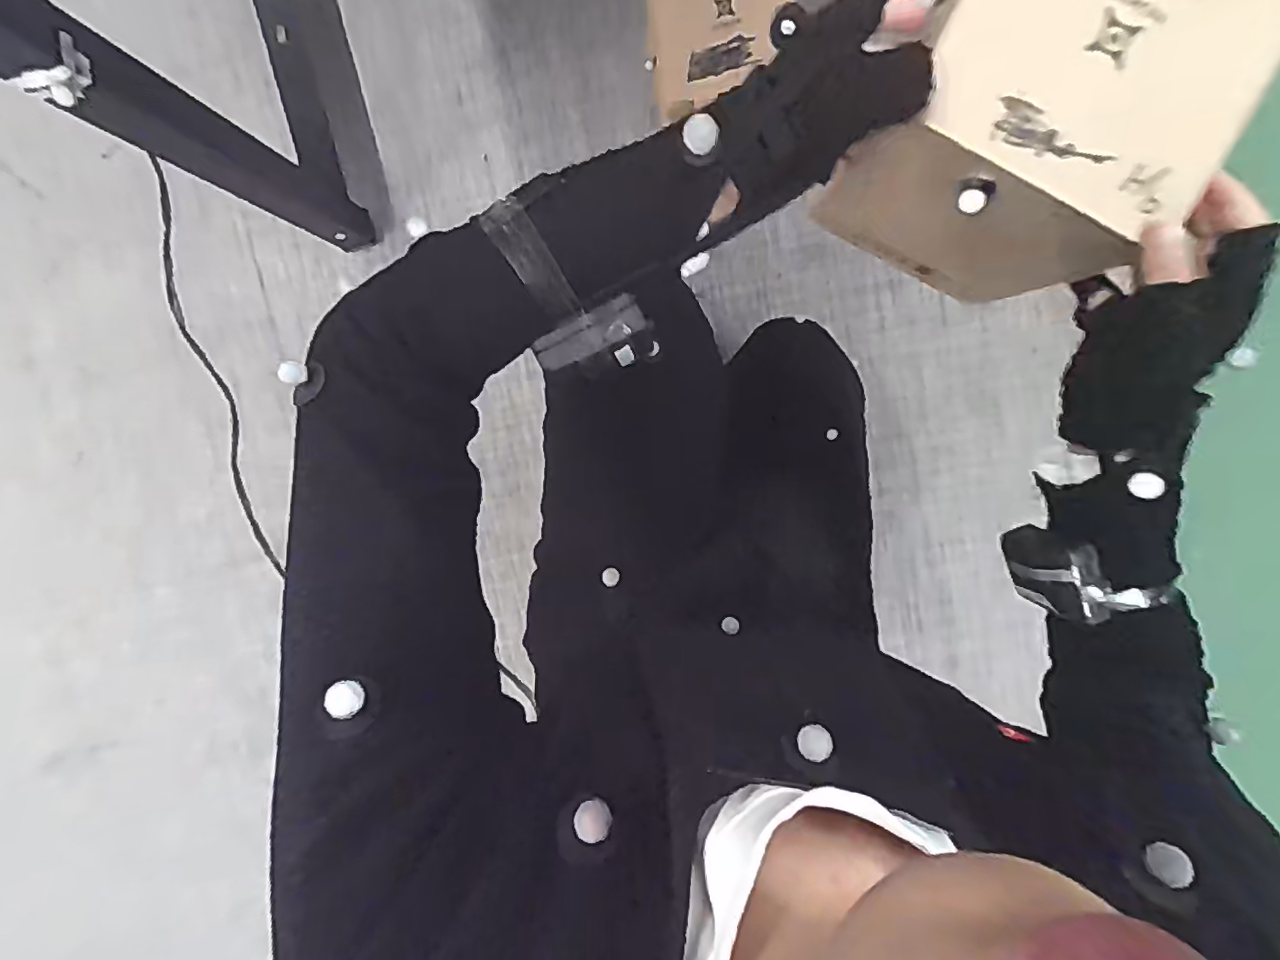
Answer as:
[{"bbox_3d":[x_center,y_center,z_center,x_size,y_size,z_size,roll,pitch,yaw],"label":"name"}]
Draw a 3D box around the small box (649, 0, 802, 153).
[{"bbox_3d":[0.105,-0.561,0.710,0.168,0.176,0.179,-9,96,5],"label":"small box"}]
